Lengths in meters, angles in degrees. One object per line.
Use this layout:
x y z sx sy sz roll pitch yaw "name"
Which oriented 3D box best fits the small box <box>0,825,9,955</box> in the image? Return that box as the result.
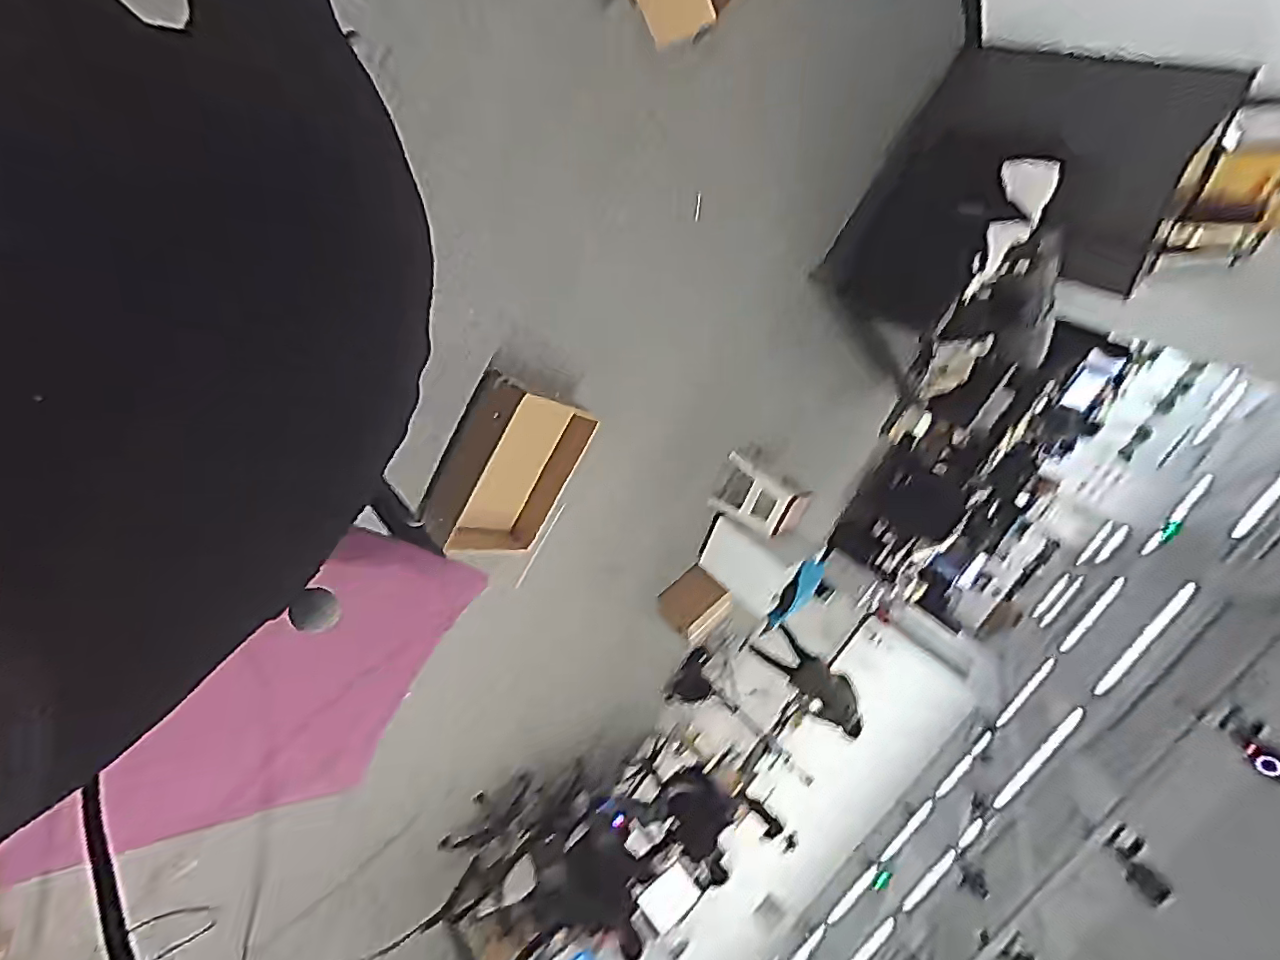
-0.701 0.412 0.471 0.179 0.176 0.168 -57 148 10 "small box"
